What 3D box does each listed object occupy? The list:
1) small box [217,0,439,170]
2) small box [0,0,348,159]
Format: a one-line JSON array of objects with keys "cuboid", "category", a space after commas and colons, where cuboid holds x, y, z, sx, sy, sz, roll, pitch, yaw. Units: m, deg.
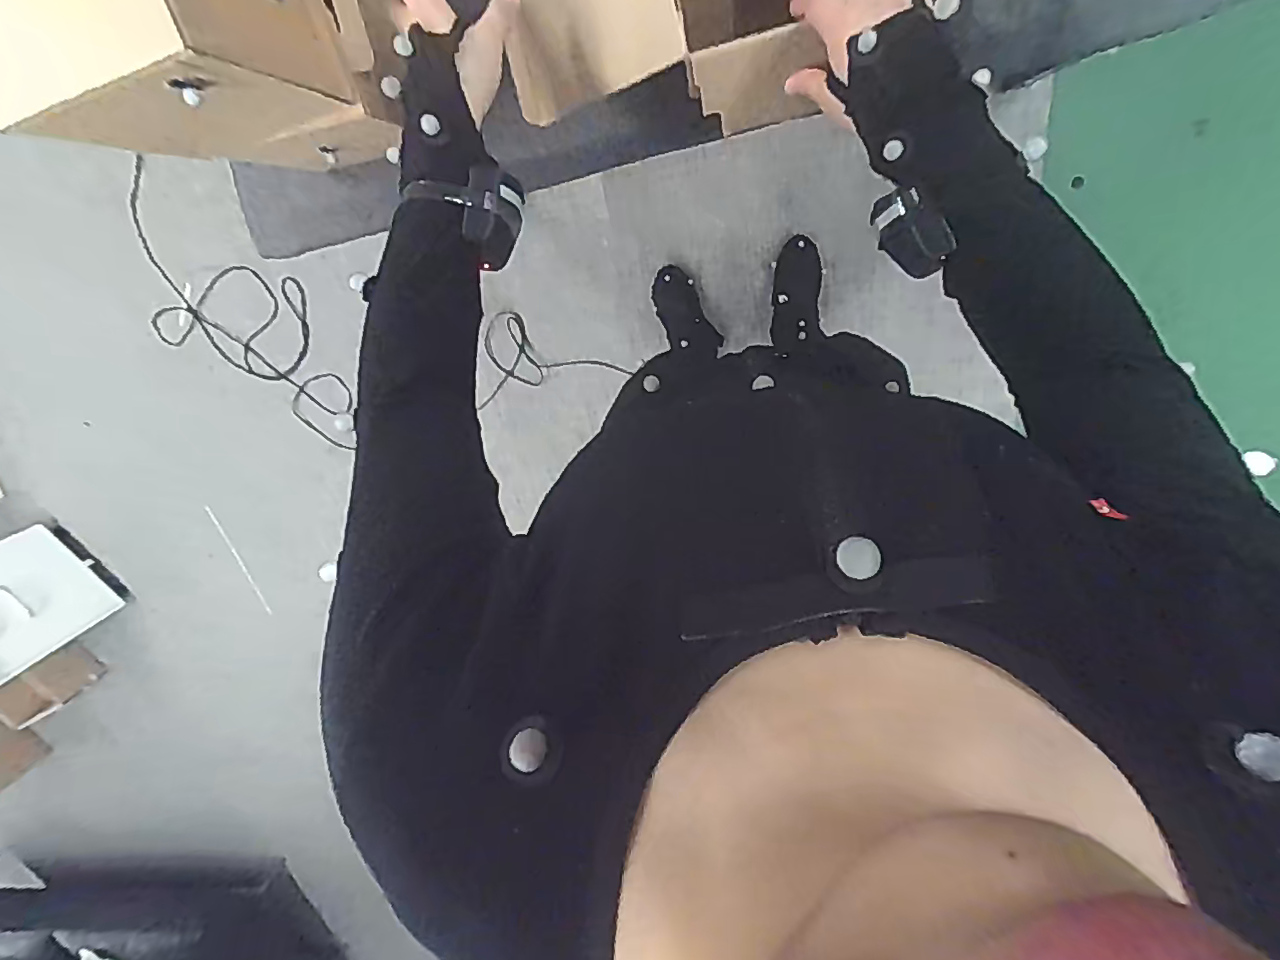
[{"cuboid": [-0.326, -0.422, 0.540, 0.179, 0.176, 0.168, -5, 114, 11], "category": "small box"}, {"cuboid": [-0.364, -0.355, 0.396, 0.179, 0.176, 0.168, -10, 113, 13], "category": "small box"}]
